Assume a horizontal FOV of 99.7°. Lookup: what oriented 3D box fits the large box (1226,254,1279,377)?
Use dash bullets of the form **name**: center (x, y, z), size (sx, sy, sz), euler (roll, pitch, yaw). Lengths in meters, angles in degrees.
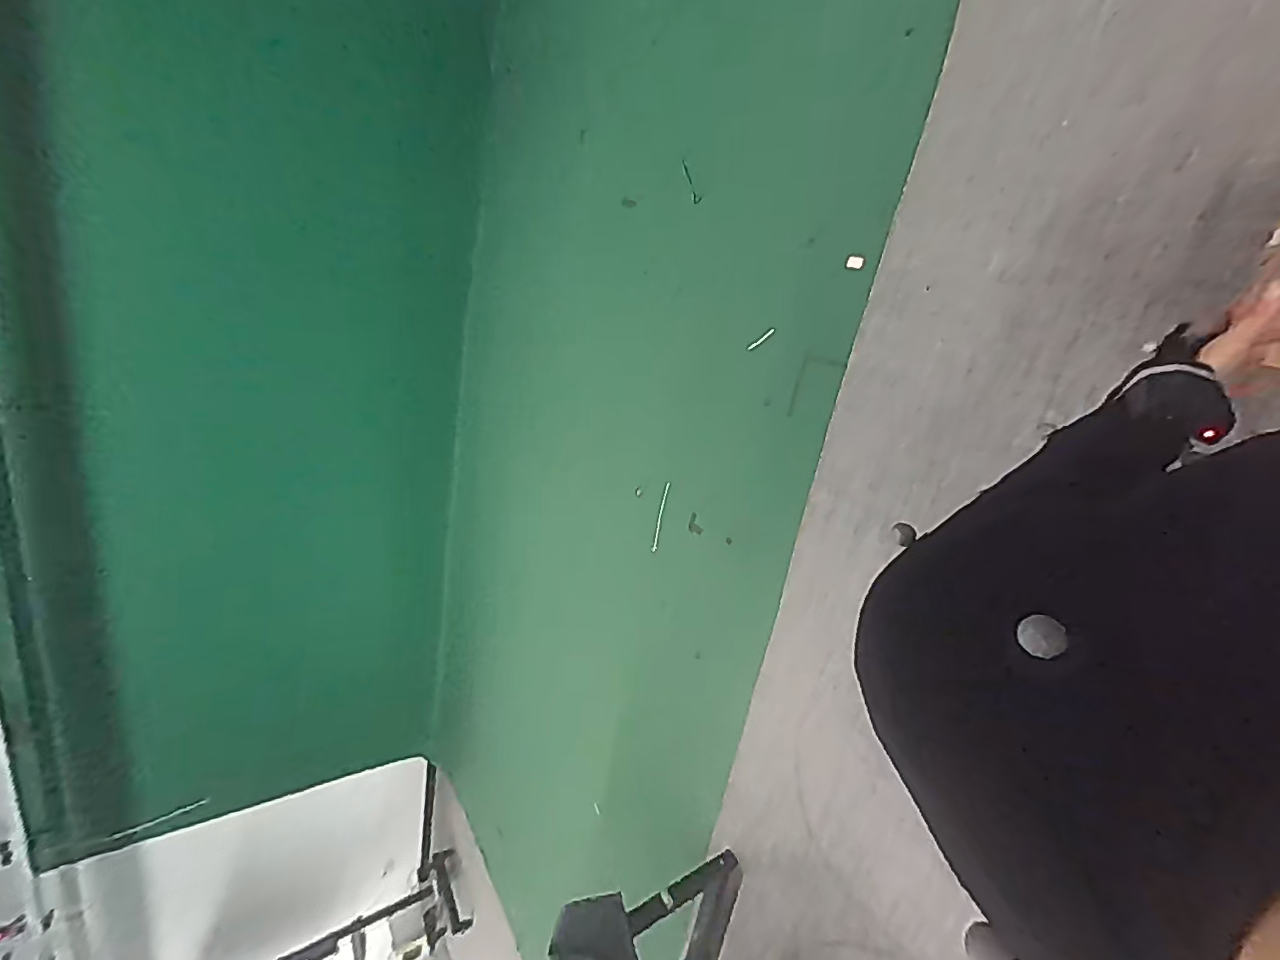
- **large box**: center (1.069, -0.243, 0.648), size (0.408, 0.320, 0.320), euler (36, 121, 45)
